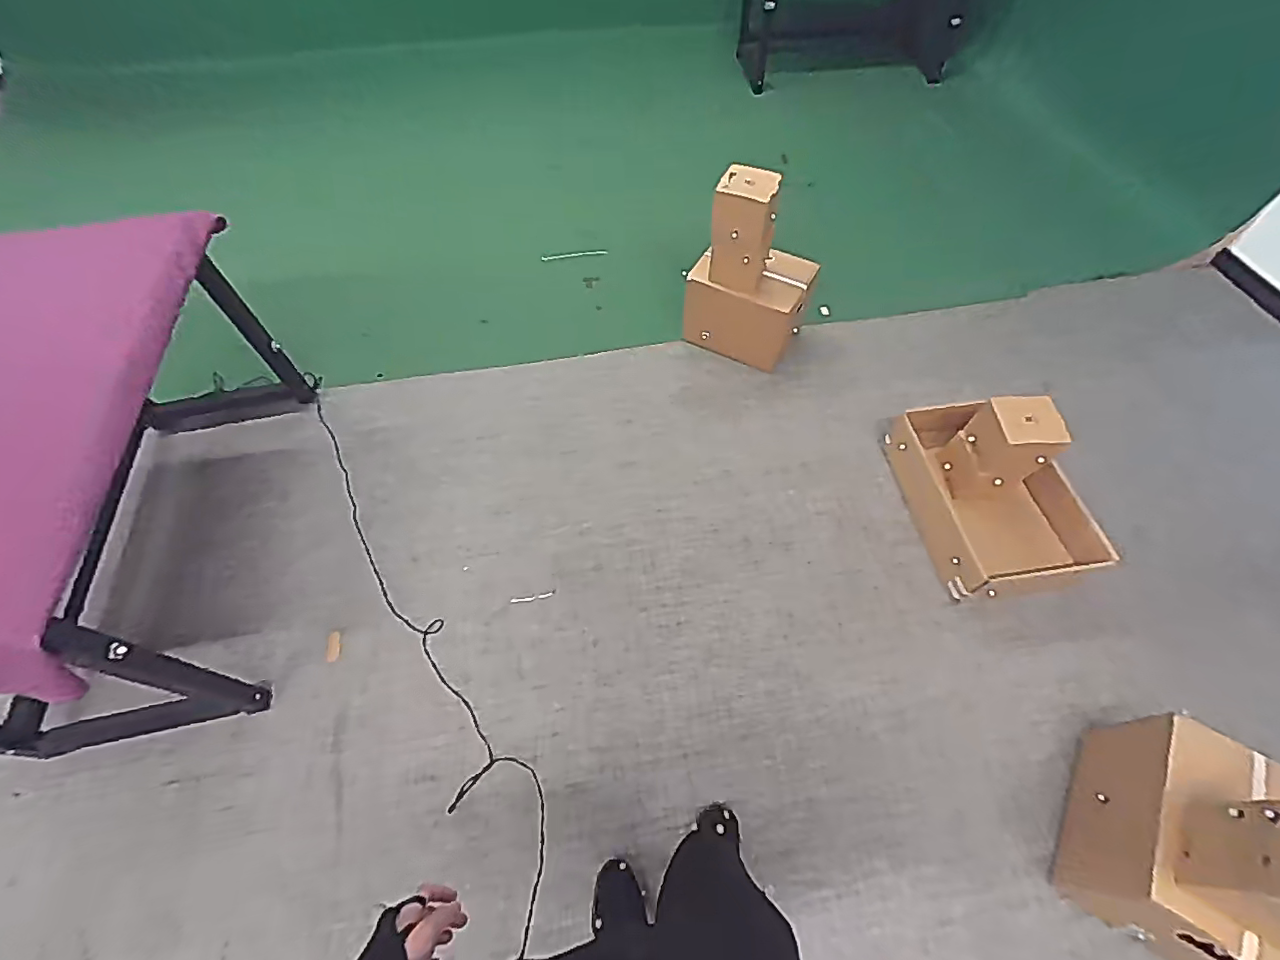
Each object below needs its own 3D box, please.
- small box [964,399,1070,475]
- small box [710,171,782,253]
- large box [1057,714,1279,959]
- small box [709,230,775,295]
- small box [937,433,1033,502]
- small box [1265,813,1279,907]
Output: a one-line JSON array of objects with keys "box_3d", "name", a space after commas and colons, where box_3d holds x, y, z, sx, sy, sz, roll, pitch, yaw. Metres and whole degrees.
[{"box_3d": [1.108, -0.124, 1.605, 0.179, 0.176, 0.168, -1, 60, 1], "name": "small box"}, {"box_3d": [0.345, -0.879, 1.785, 0.179, 0.176, 0.168, 21, 60, 13], "name": "small box"}, {"box_3d": [1.196, 0.806, 1.181, 0.320, 0.320, 0.408, 29, 61, 17], "name": "large box"}, {"box_3d": [0.357, -0.787, 1.921, 0.179, 0.176, 0.168, 20, 60, 13], "name": "small box"}, {"box_3d": [1.105, -0.042, 1.746, 0.179, 0.176, 0.168, -5, 61, -1], "name": "small box"}, {"box_3d": [1.120, 0.618, 0.815, 0.179, 0.176, 0.168, 30, 62, 18], "name": "small box"}]
